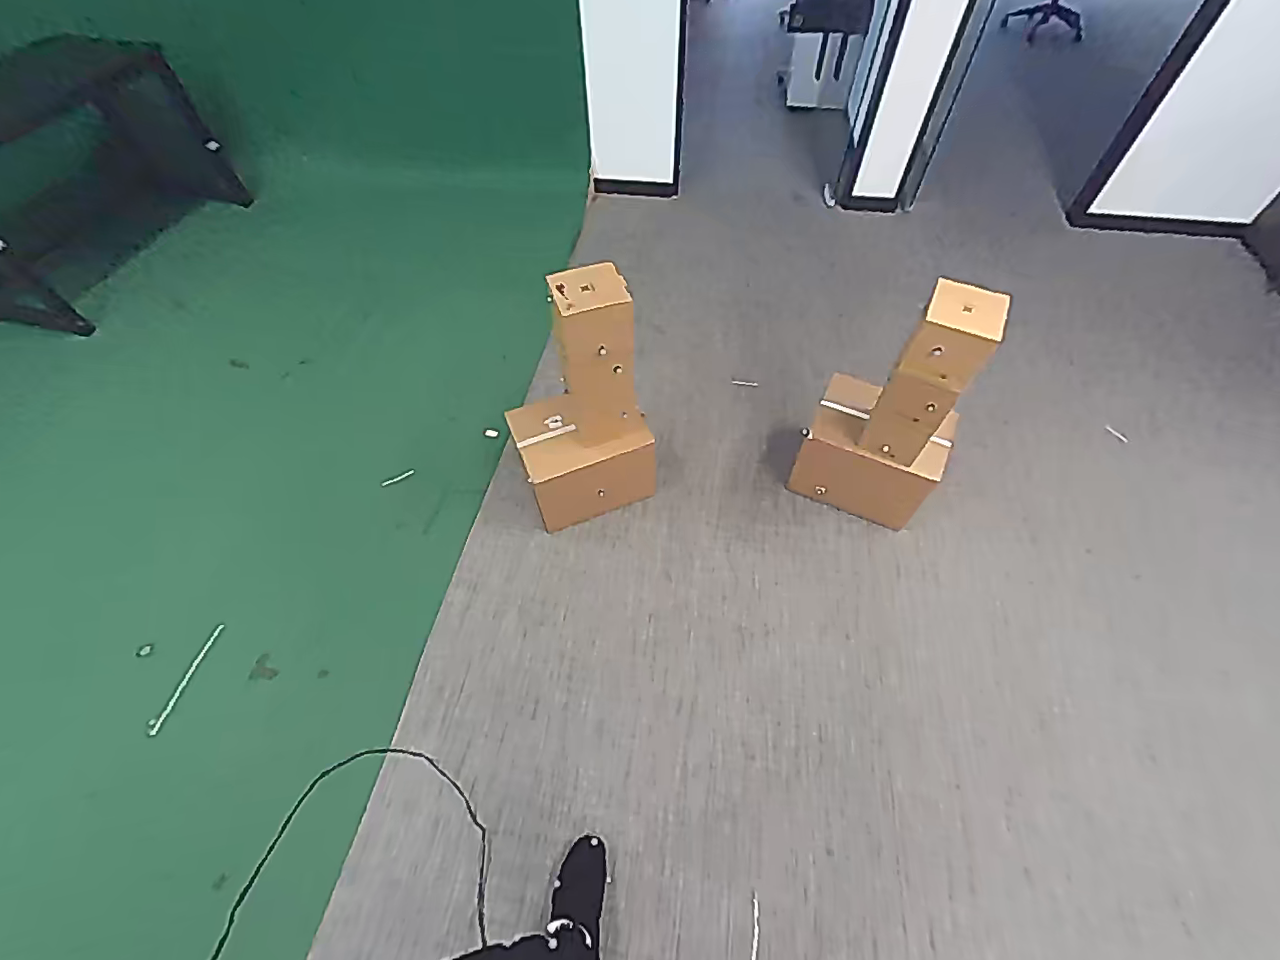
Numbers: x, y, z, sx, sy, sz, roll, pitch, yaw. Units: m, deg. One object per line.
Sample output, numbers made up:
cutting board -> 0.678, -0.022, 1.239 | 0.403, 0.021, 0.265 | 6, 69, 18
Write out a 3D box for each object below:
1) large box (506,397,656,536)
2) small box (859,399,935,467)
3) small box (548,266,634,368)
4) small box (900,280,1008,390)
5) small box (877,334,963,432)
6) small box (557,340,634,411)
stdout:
large box -> -0.190, -0.070, 1.834 | 0.408, 0.320, 0.320 | -21, 56, -12
small box -> 0.769, -0.172, 1.596 | 0.168, 0.176, 0.179 | 25, 60, 17
small box -> -0.124, -0.410, 1.369 | 0.179, 0.176, 0.168 | -16, 56, -11
small box -> 0.761, -0.351, 1.325 | 0.168, 0.176, 0.179 | 23, 59, 15
small box -> 0.762, -0.260, 1.459 | 0.168, 0.176, 0.179 | 23, 59, 15
small box -> -0.124, -0.319, 1.506 | 0.179, 0.176, 0.168 | -17, 56, -10
